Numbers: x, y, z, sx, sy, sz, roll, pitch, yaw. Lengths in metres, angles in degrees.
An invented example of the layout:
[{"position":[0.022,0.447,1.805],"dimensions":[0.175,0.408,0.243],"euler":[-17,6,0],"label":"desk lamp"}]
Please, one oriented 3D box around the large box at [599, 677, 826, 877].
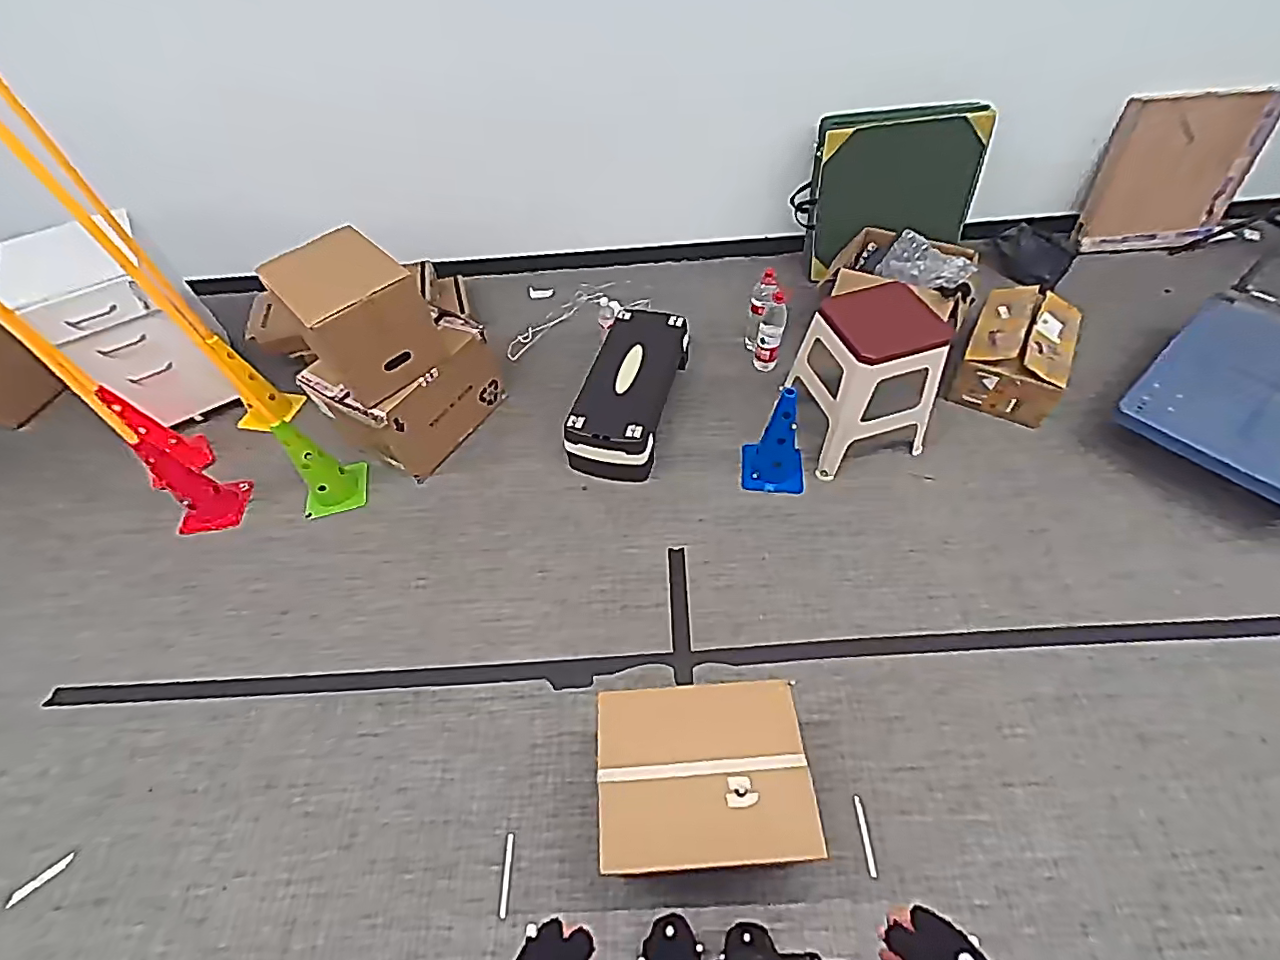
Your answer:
[{"position":[0.128,0.644,1.162],"dimensions":[0.408,0.320,0.320],"euler":[-4,54,-1],"label":"large box"}]
